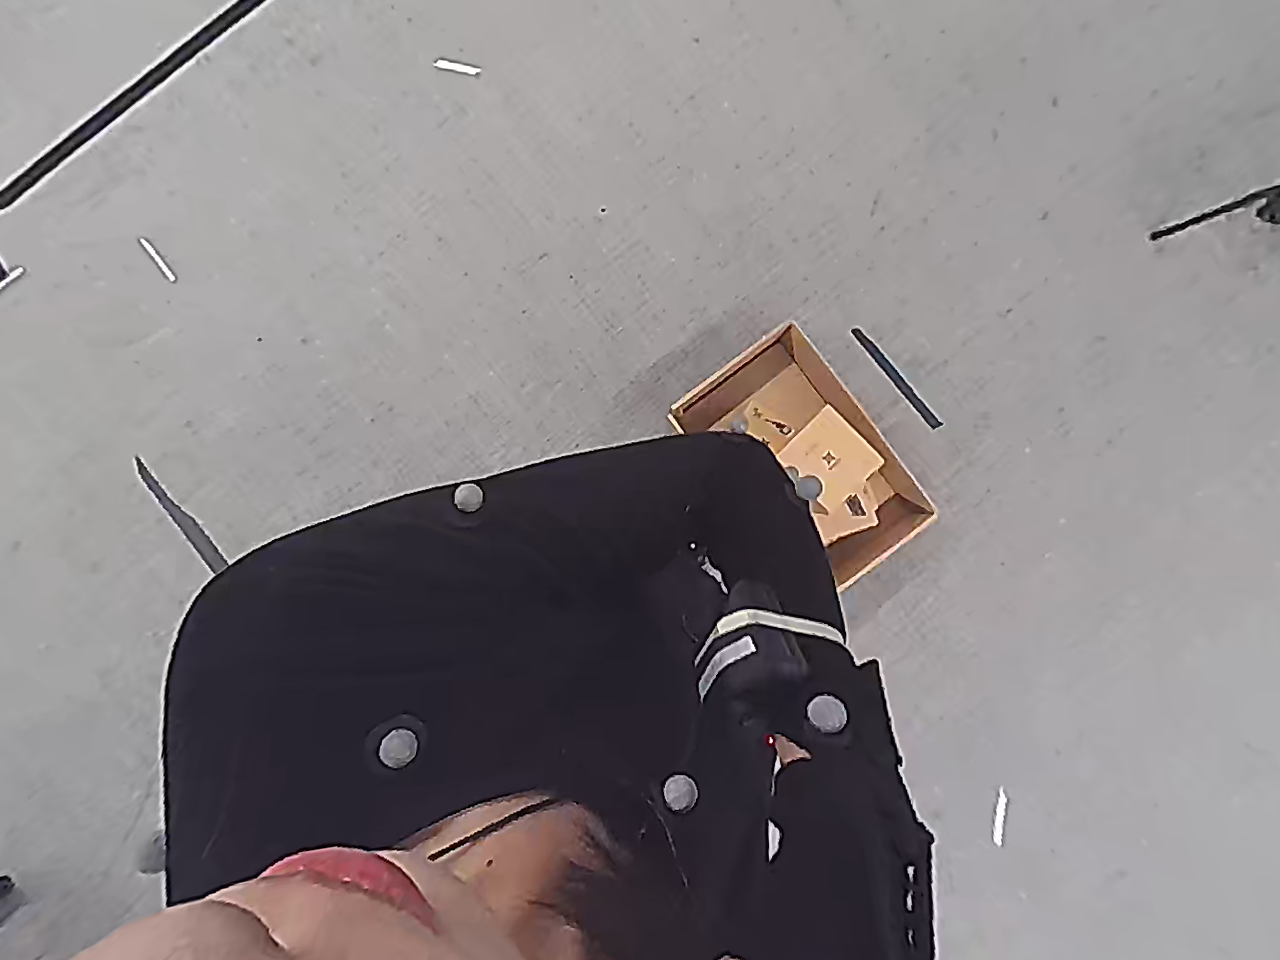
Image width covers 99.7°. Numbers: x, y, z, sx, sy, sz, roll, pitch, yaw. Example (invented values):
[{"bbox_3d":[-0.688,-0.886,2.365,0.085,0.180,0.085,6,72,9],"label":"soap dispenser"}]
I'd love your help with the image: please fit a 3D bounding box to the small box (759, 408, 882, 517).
[{"bbox_3d":[0.398,-0.037,1.223,0.179,0.176,0.168,45,88,2],"label":"small box"}]
